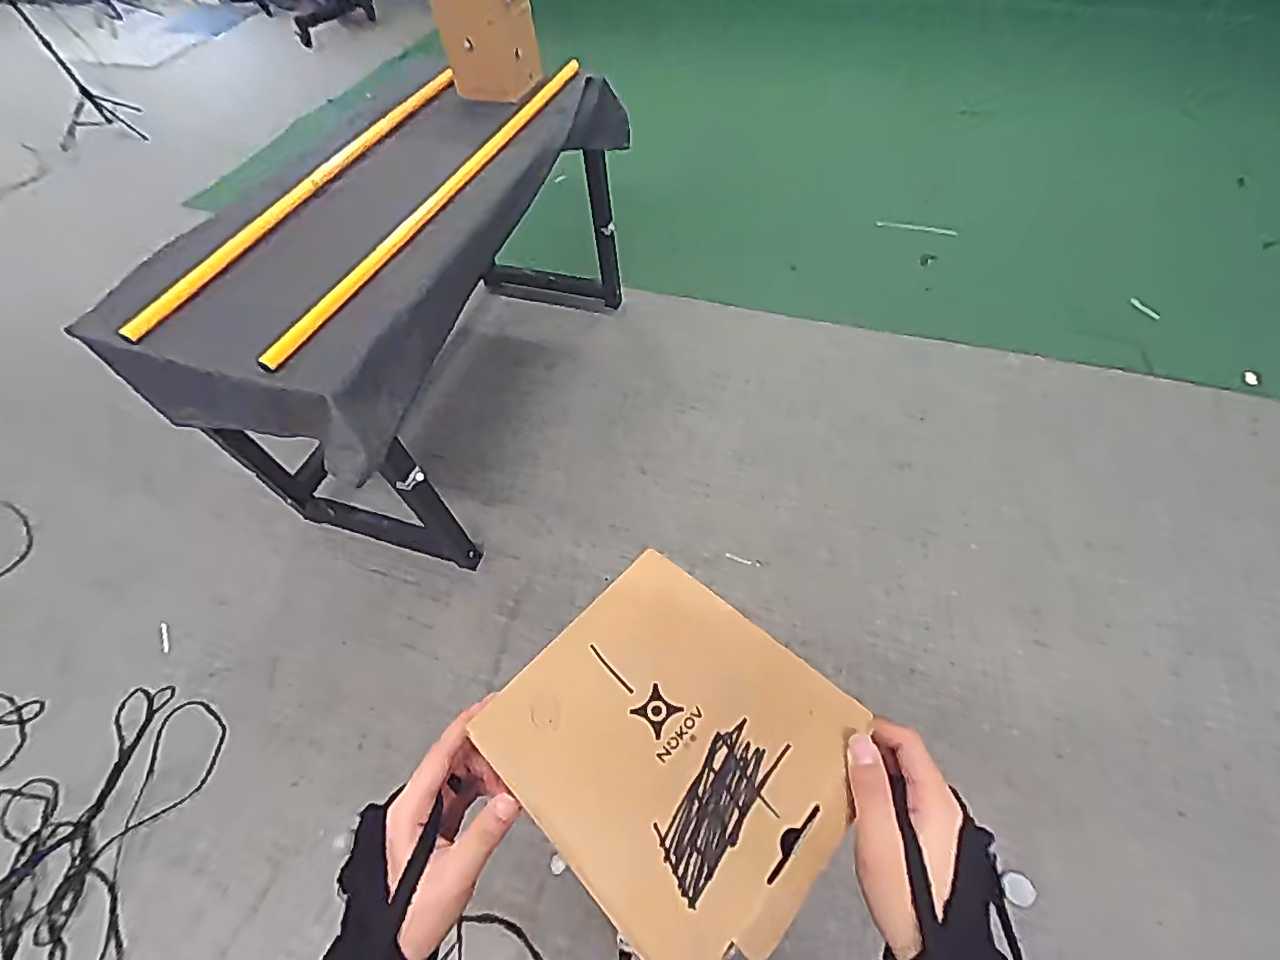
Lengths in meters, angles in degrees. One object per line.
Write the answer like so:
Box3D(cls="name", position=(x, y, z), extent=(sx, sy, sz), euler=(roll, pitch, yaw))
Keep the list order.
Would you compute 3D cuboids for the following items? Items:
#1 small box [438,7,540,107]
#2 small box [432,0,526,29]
Box3D(cls="small box", position=(-0.381, -1.100, 1.404), extent=(0.179, 0.176, 0.168), euler=(15, 59, 15))
Box3D(cls="small box", position=(-0.394, -1.194, 1.272), extent=(0.179, 0.176, 0.168), euler=(14, 60, 13))
